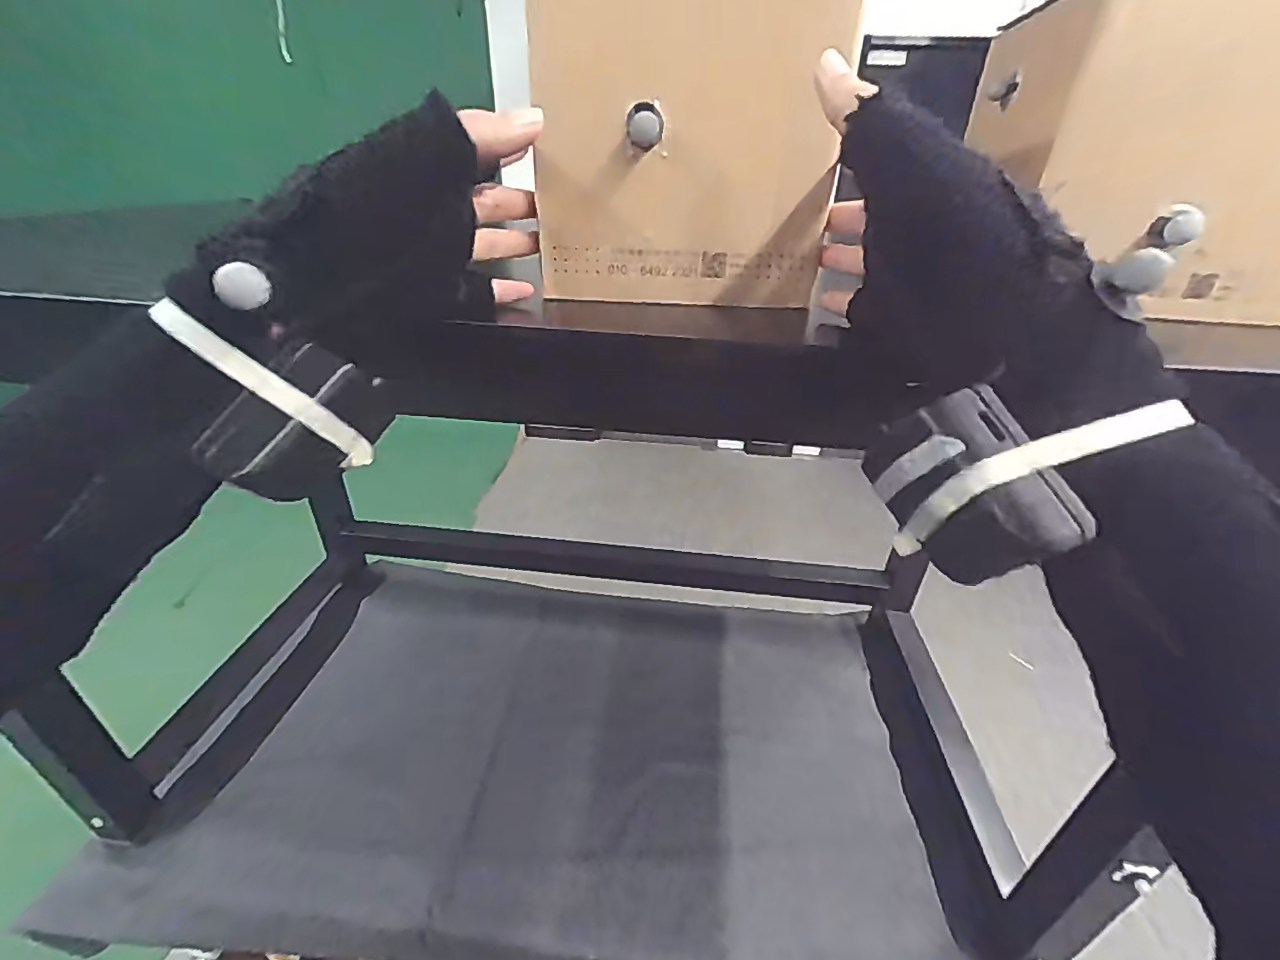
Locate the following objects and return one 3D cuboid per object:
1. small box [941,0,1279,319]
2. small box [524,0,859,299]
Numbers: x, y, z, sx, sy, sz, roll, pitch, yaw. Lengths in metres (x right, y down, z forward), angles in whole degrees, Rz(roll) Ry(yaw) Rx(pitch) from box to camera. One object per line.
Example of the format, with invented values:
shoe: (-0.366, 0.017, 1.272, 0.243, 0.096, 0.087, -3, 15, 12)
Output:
small box: (0.325, -0.216, 0.357, 0.168, 0.176, 0.179, 7, 32, 10)
small box: (0.029, -0.222, 0.355, 0.168, 0.176, 0.179, 3, 30, 1)
